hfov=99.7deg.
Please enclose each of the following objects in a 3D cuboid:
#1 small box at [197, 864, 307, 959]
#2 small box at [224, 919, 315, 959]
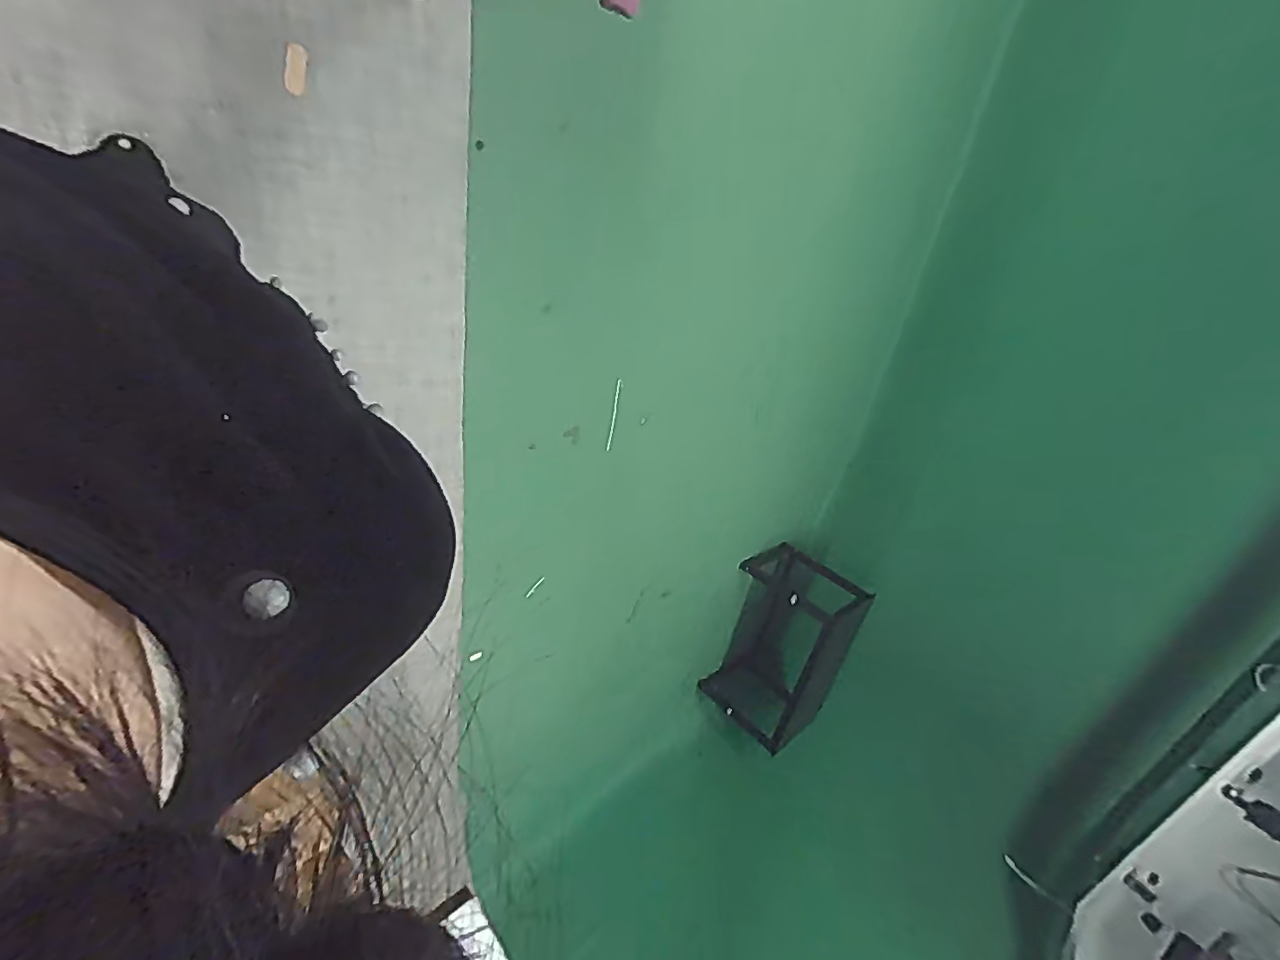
[{"bbox_3d":[-1.010,1.151,1.406,0.168,0.176,0.179,-29,135,-32],"label":"small box"},{"bbox_3d":[-0.900,1.219,1.305,0.168,0.176,0.179,-29,136,-31],"label":"small box"}]
